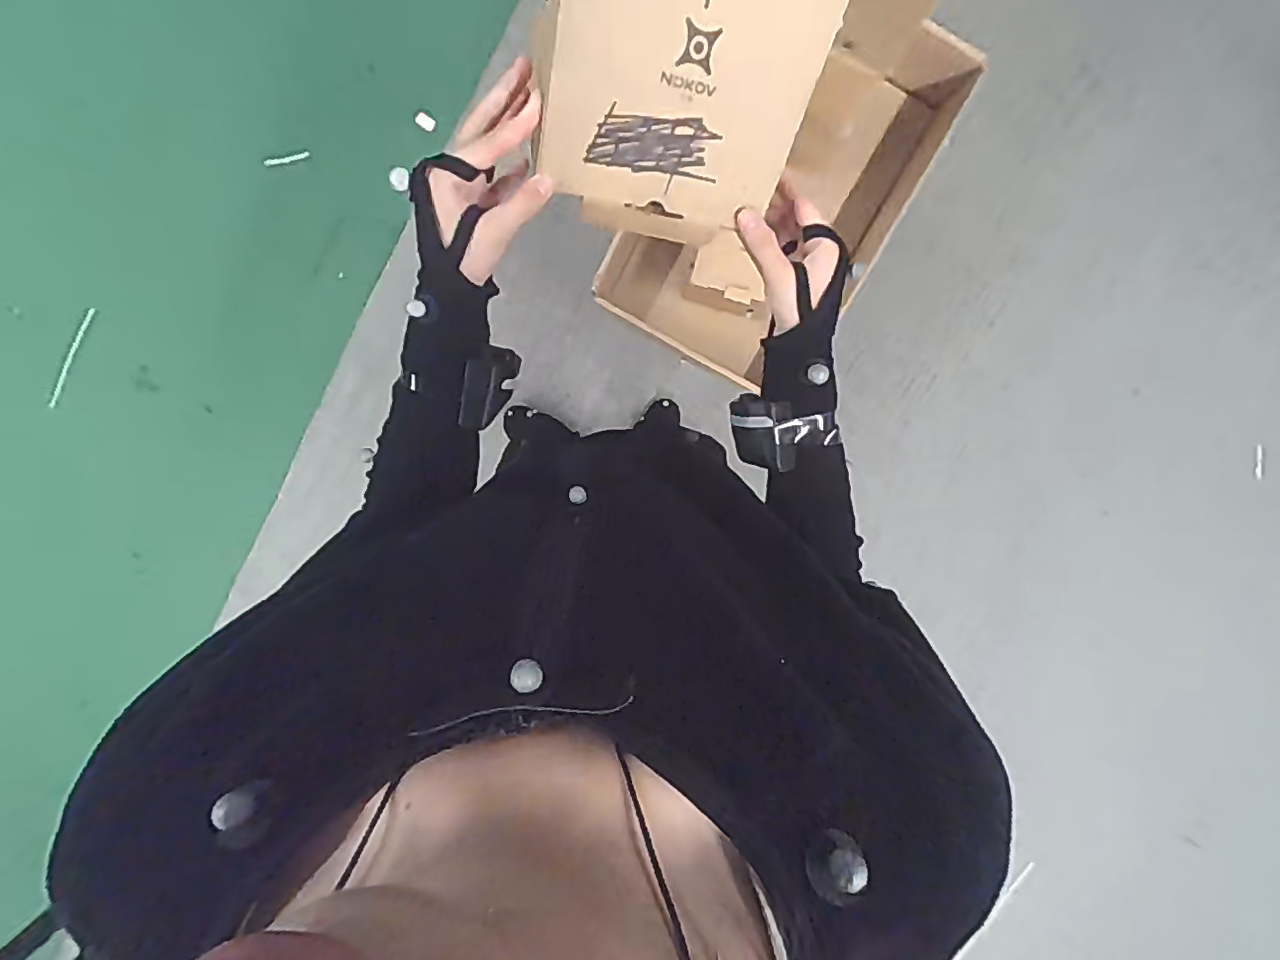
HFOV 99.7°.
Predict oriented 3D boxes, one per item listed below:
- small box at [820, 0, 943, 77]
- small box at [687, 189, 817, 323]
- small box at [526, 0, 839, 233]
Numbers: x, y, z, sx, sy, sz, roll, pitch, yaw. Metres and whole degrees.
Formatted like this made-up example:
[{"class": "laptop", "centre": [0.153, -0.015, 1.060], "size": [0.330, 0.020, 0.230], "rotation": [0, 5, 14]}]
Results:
[{"class": "small box", "centre": [0.269, -0.597, 0.580], "size": [0.168, 0.176, 0.179], "rotation": [27, 99, -1]}, {"class": "small box", "centre": [0.183, -0.387, 0.947], "size": [0.168, 0.176, 0.179], "rotation": [16, 98, -2]}, {"class": "small box", "centre": [0.012, -0.309, 0.382], "size": [0.168, 0.176, 0.179], "rotation": [3, 134, -18]}]
